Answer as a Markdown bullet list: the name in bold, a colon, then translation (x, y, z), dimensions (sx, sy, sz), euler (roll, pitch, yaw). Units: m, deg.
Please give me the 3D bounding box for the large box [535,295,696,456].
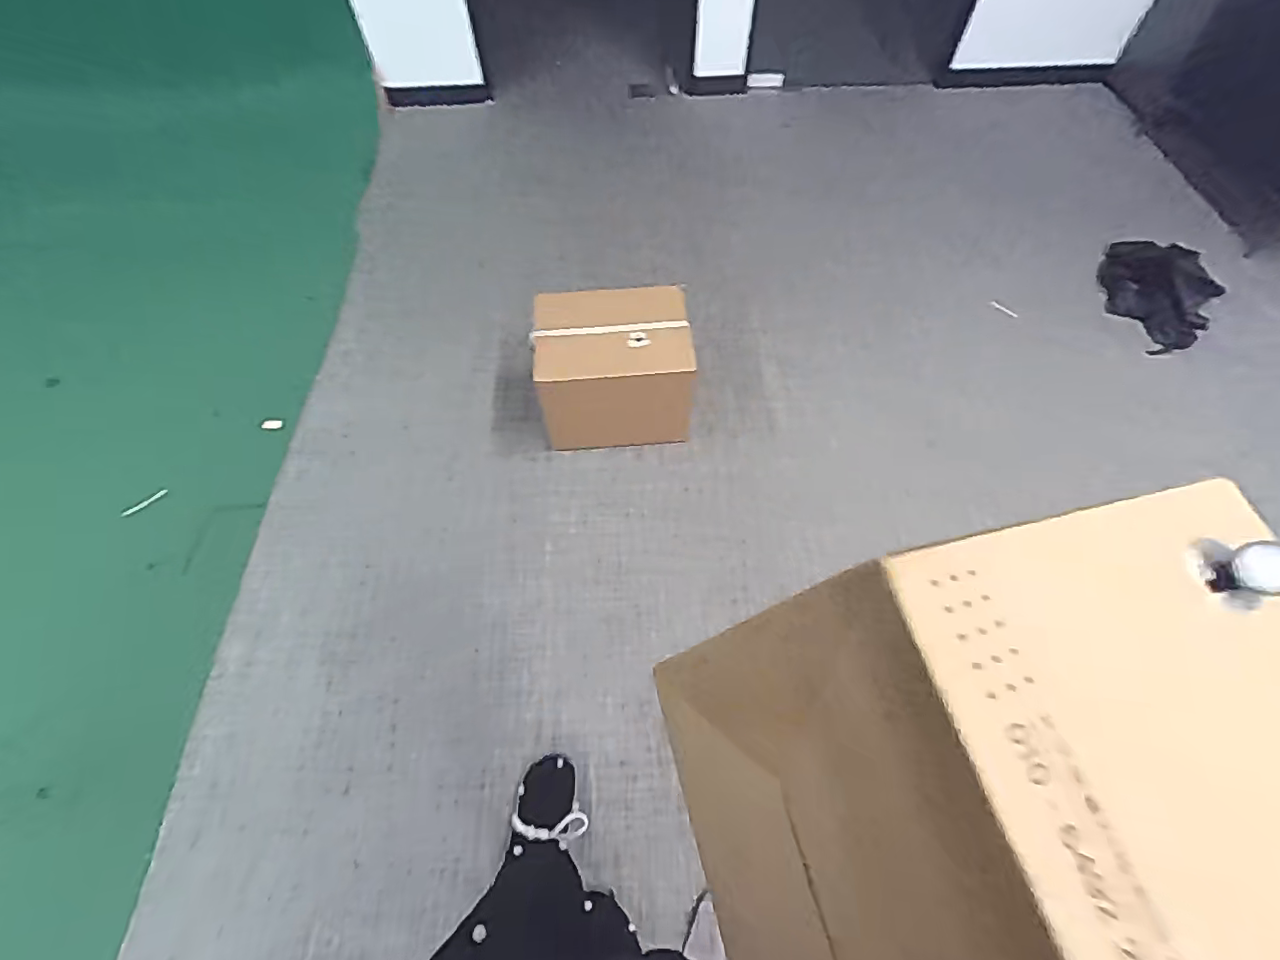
- **large box**: translation (-0.074, -0.289, 1.528), dimensions (0.408, 0.320, 0.320), euler (-4, 60, -3)
